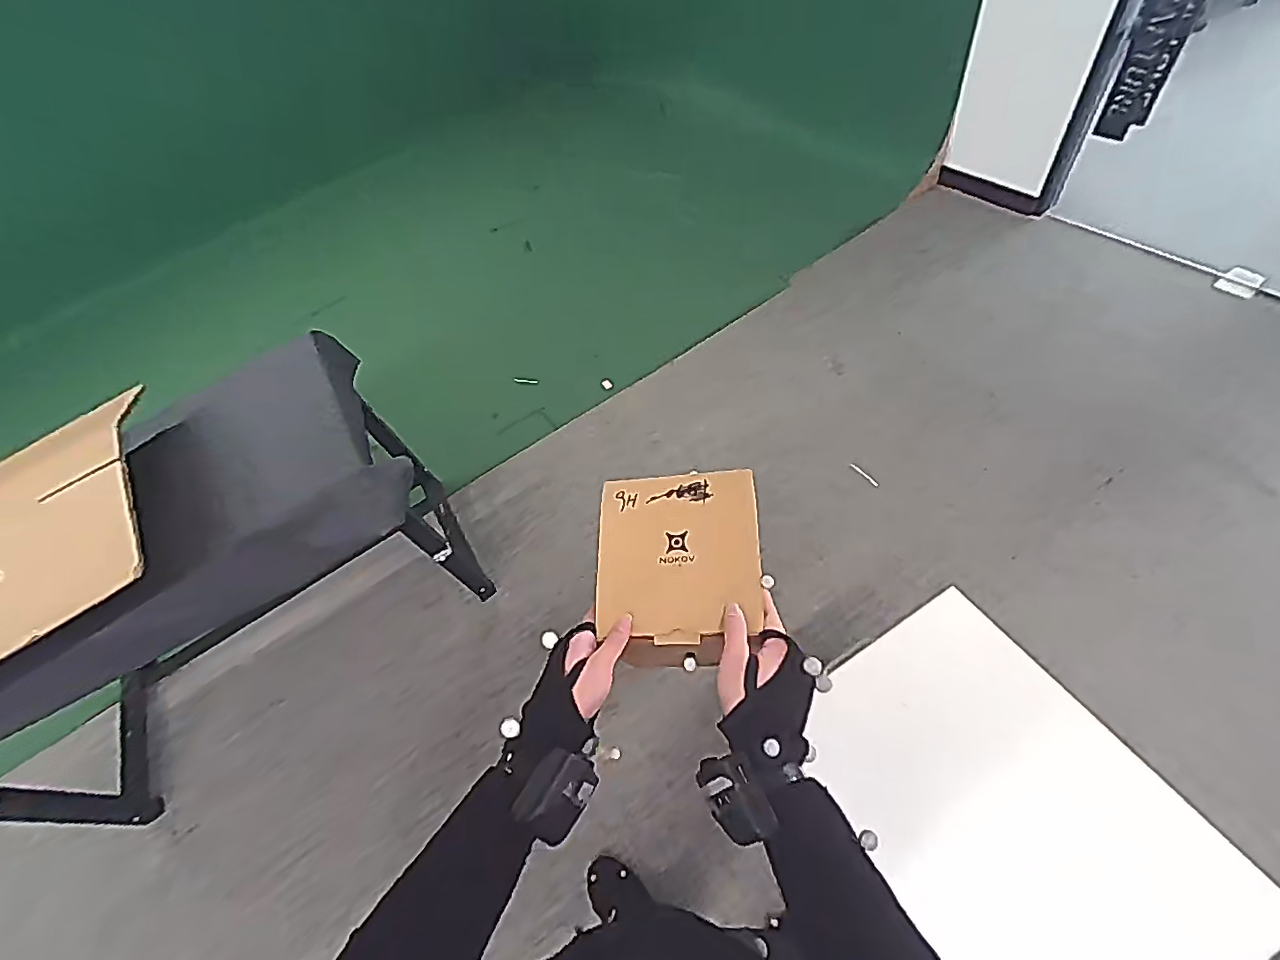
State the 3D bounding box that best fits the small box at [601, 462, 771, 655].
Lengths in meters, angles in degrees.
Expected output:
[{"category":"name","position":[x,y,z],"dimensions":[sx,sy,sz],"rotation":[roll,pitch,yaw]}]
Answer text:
[{"category":"small box","position":[0.058,0.102,0.629],"dimensions":[0.168,0.176,0.179],"rotation":[-7,61,11]}]
